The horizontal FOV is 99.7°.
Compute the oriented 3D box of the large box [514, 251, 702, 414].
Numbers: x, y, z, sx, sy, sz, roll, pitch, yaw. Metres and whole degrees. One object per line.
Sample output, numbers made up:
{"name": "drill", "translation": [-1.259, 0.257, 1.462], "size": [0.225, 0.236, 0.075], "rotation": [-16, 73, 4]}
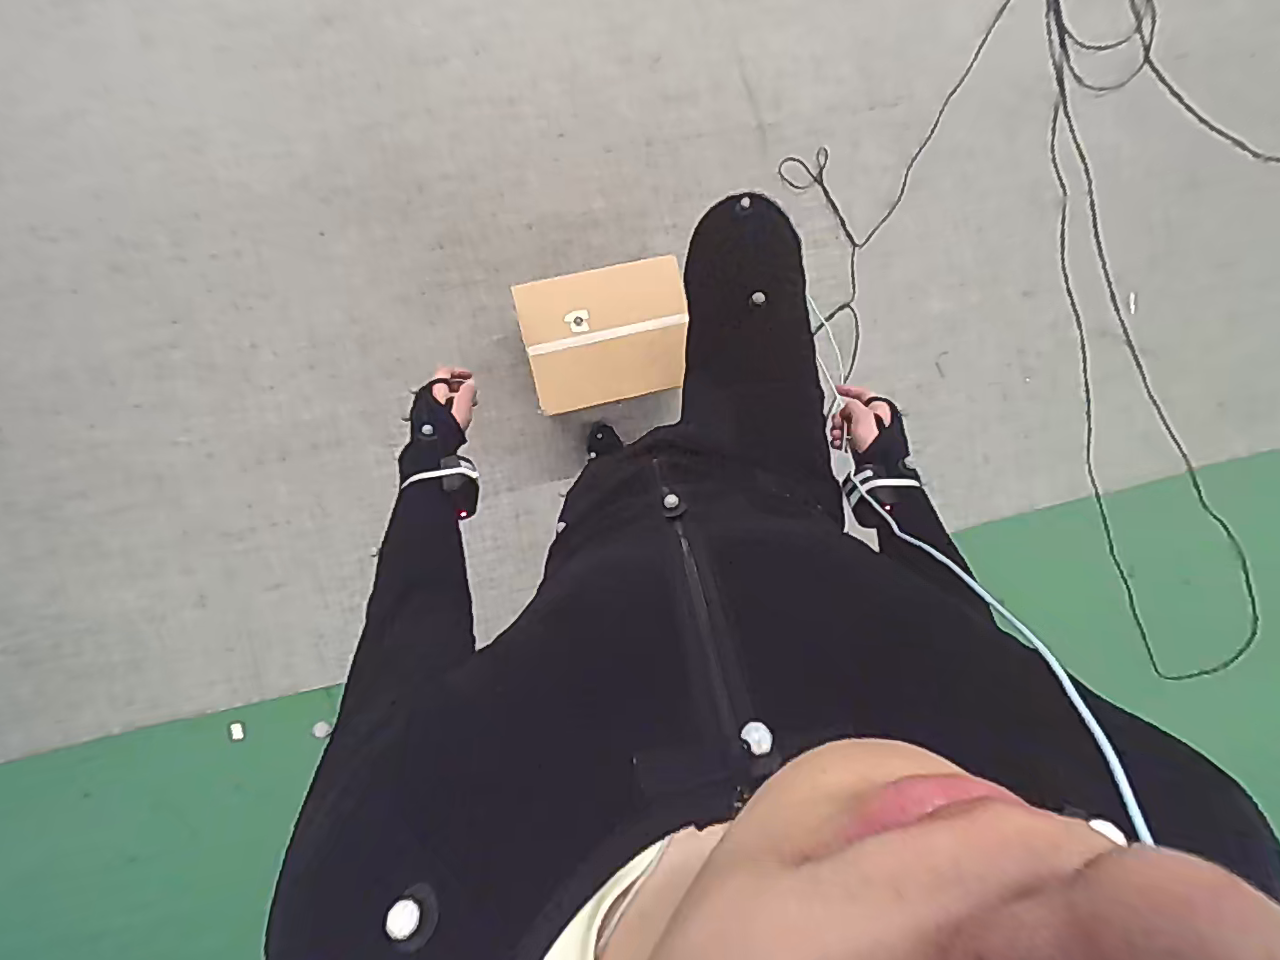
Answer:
{"name": "large box", "translation": [-0.085, -0.374, 1.450], "size": [0.408, 0.320, 0.320], "rotation": [-14, 97, -4]}
